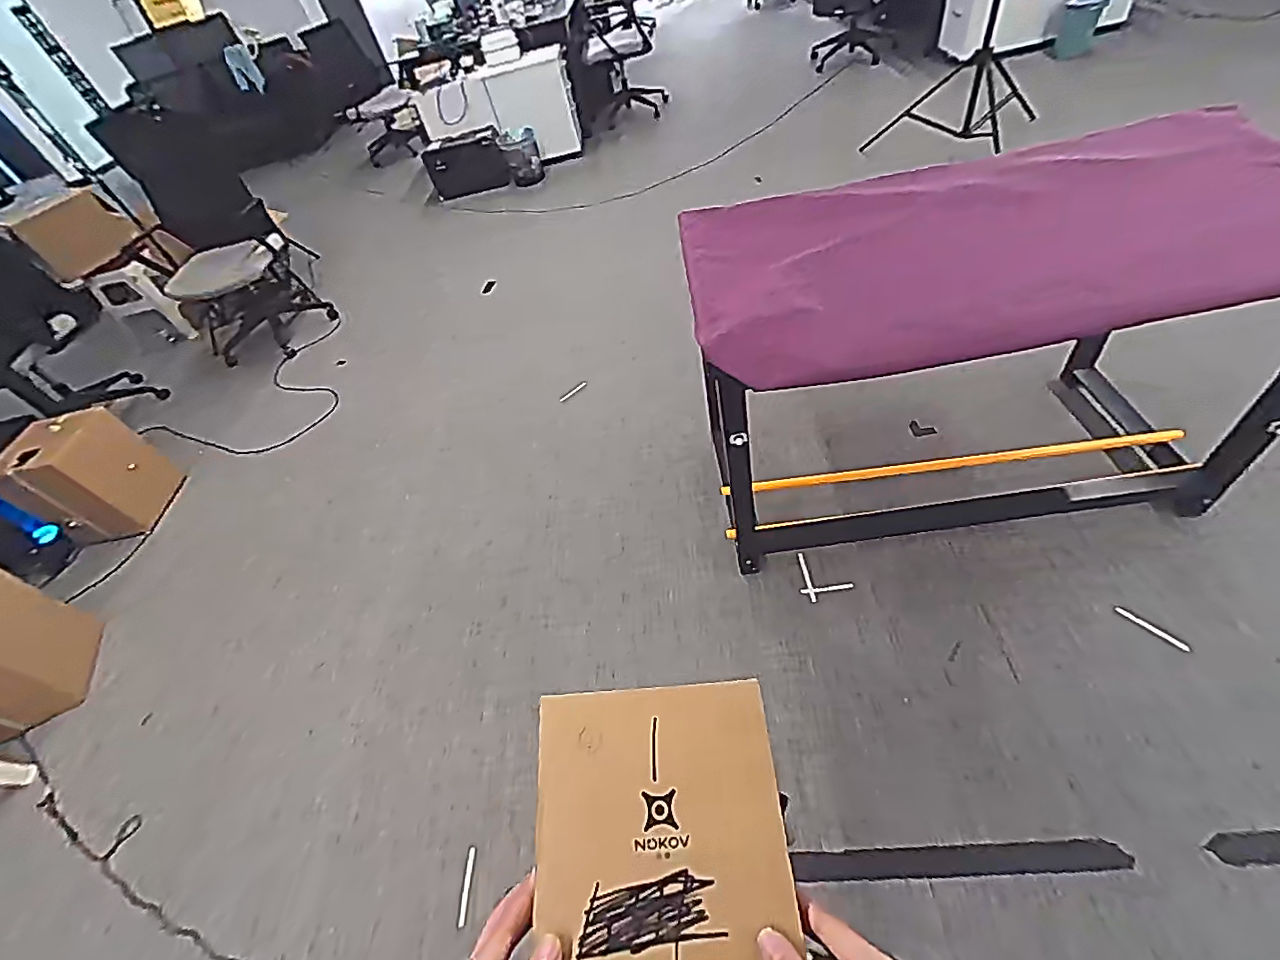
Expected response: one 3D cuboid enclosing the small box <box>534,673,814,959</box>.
[{"bbox_3d":[0.019,0.261,0.417,0.168,0.176,0.179,-4,57,0],"label":"small box"}]
